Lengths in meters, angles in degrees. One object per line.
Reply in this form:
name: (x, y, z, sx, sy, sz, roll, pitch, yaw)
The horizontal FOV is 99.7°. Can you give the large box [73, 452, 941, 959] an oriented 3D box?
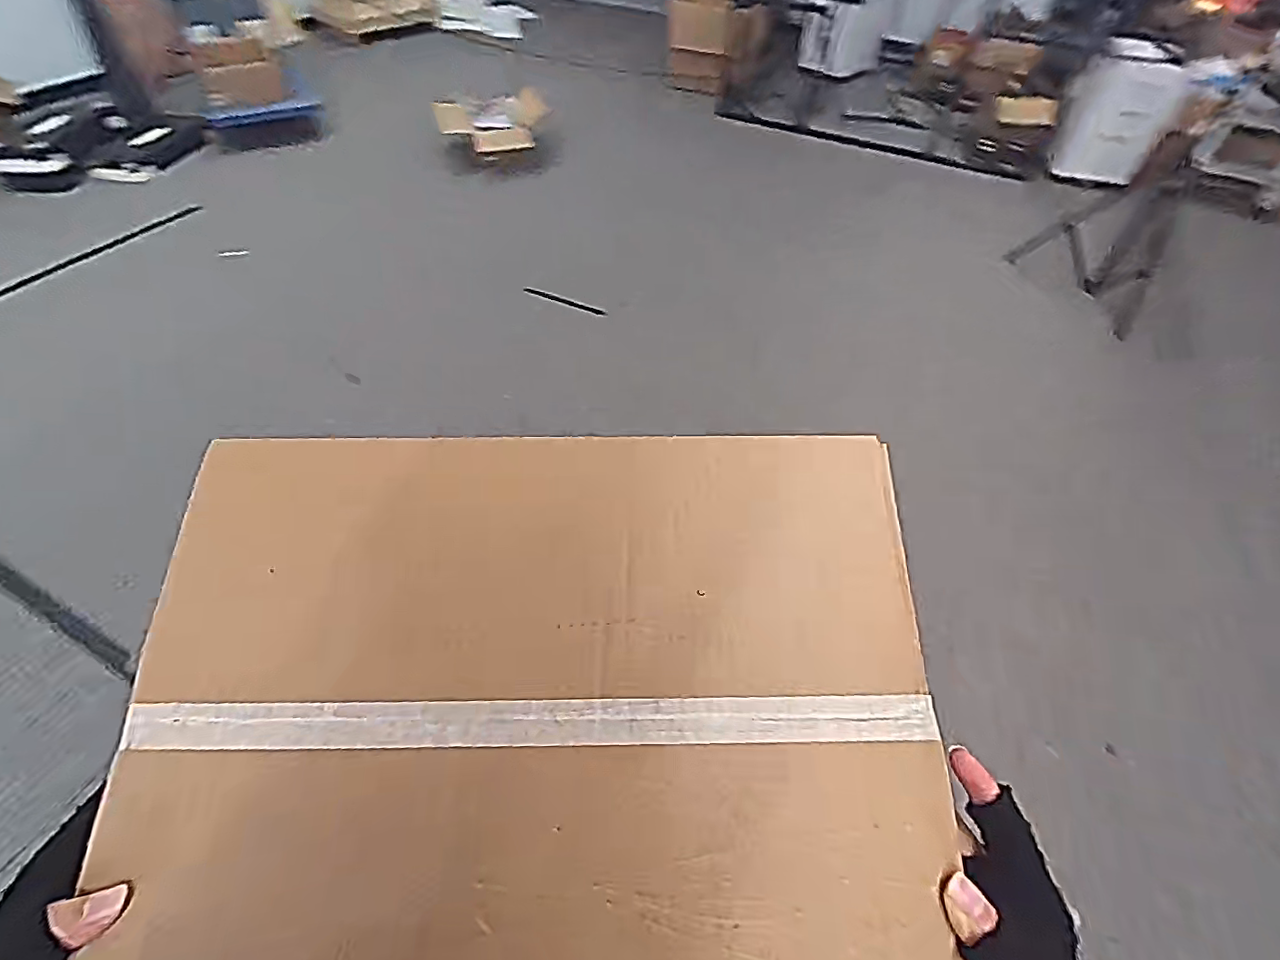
large box: (-0.061, 0.183, 0.419, 0.408, 0.320, 0.320, -1, 69, 0)
